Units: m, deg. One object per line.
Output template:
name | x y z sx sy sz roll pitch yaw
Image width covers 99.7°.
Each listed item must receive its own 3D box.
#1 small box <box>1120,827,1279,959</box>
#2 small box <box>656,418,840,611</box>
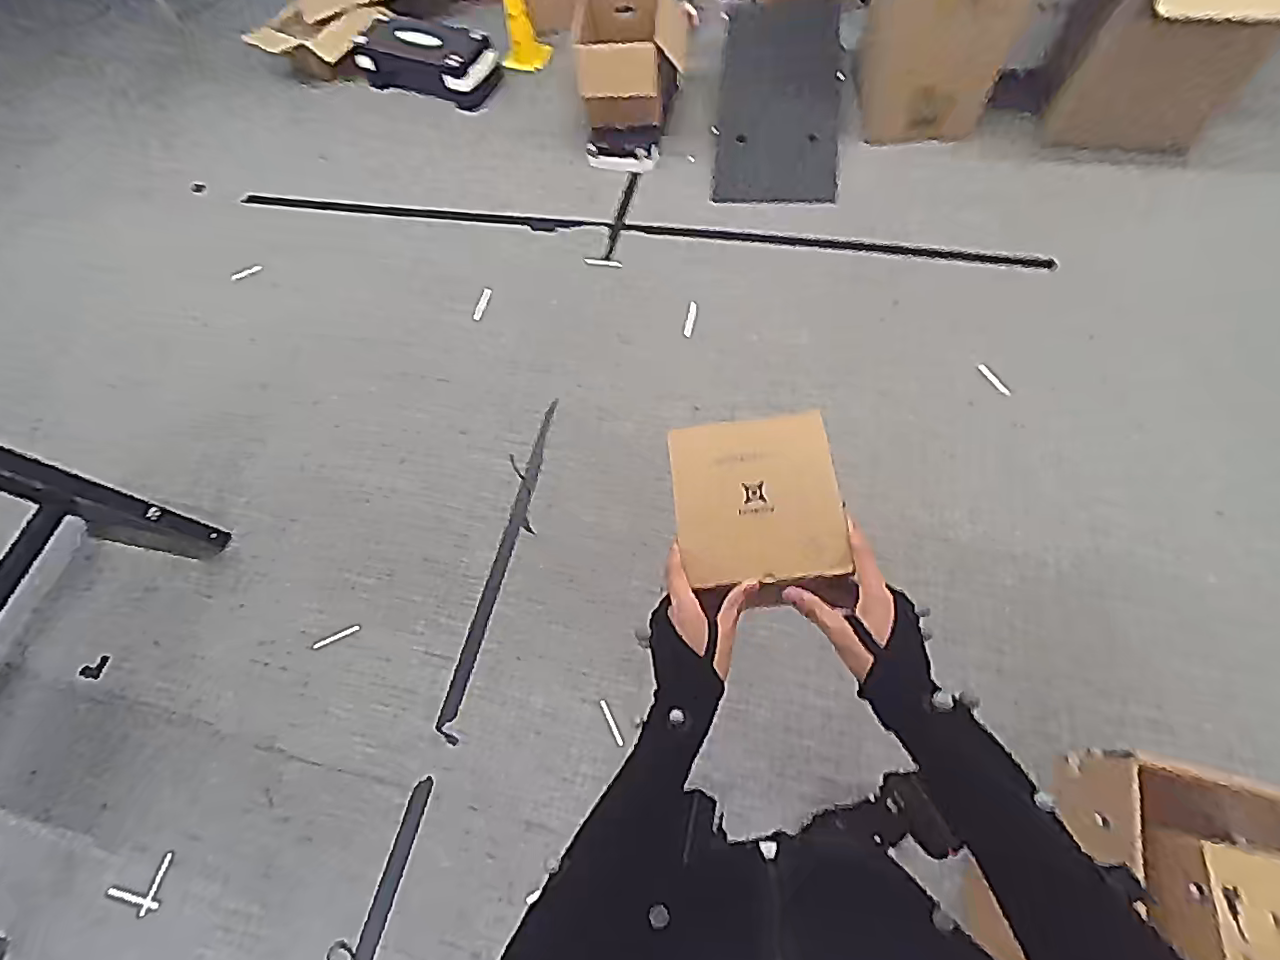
small box | 0.881 0.639 0.806 0.179 0.176 0.168 7 67 8
small box | 0.113 0.051 0.618 0.168 0.176 0.179 -7 69 4
